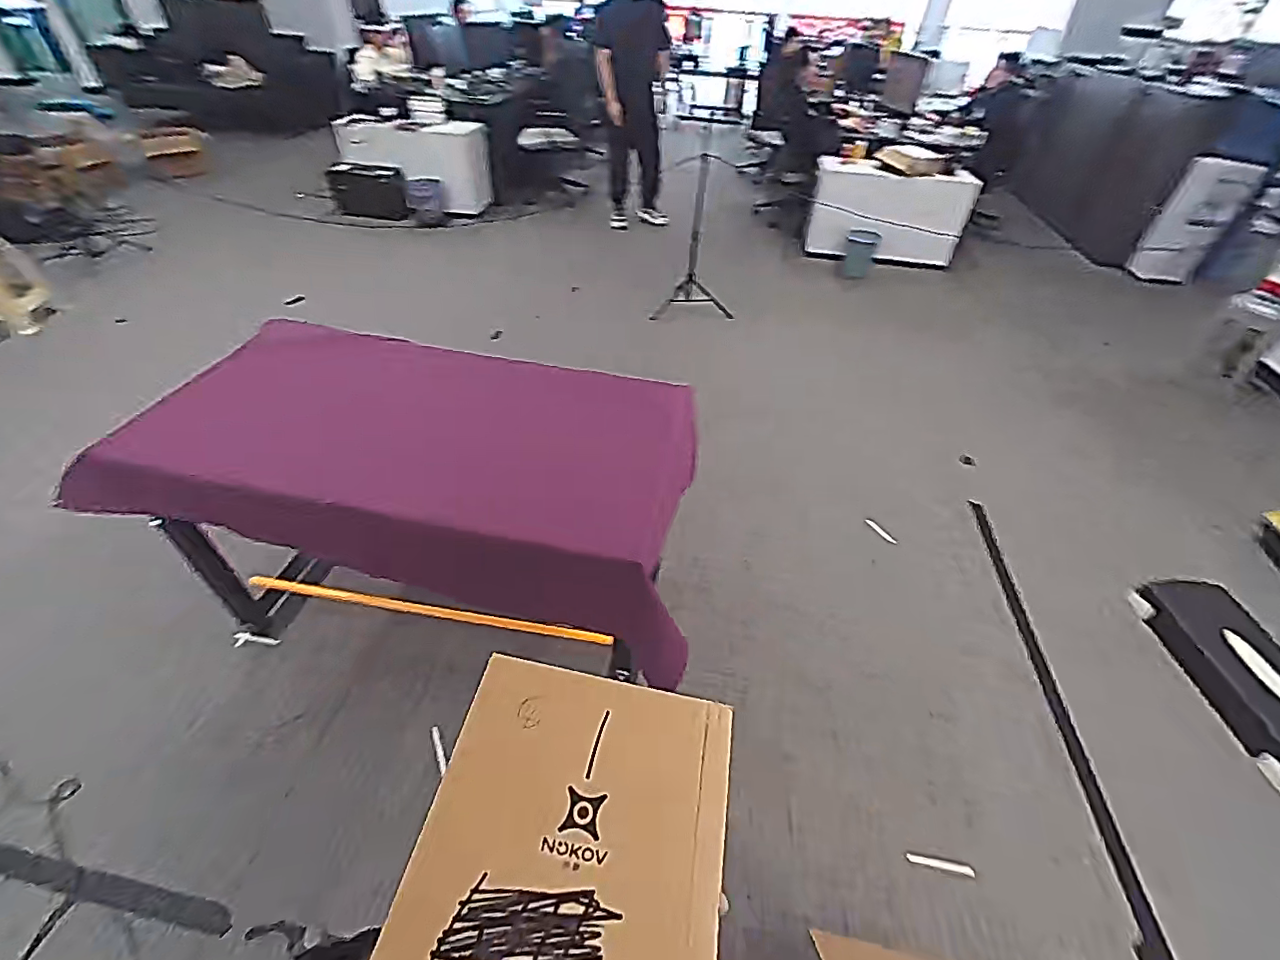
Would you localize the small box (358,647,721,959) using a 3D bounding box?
[{"bbox_3d":[-0.048,0.244,0.363,0.168,0.176,0.179,11,48,3],"label":"small box"}]
